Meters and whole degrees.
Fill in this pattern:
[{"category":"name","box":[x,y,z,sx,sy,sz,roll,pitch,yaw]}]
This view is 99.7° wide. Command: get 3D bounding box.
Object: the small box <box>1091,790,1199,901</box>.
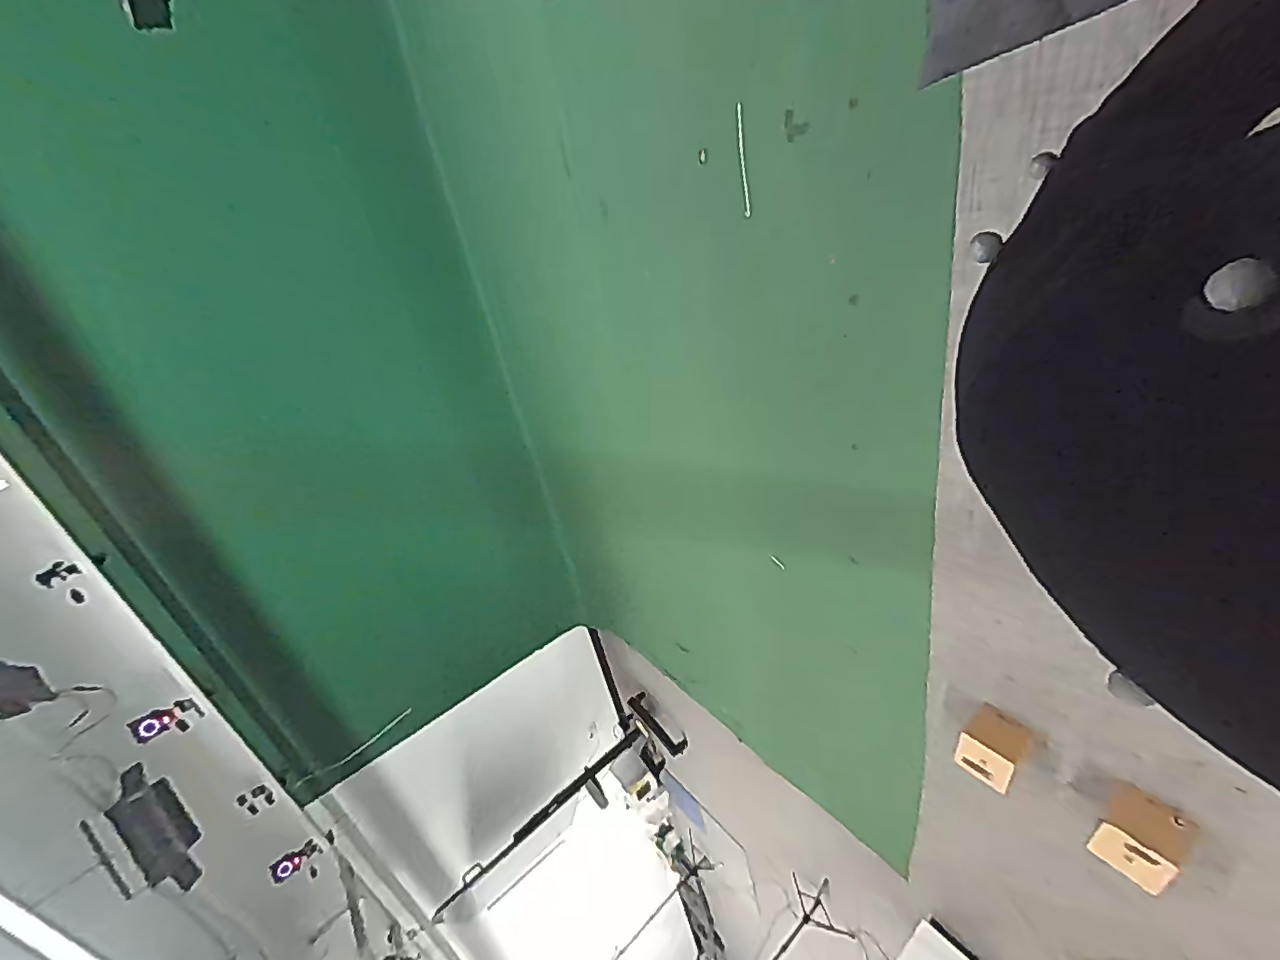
[{"category":"small box","box":[1.451,1.040,1.551,0.168,0.176,0.179,31,141,45]}]
